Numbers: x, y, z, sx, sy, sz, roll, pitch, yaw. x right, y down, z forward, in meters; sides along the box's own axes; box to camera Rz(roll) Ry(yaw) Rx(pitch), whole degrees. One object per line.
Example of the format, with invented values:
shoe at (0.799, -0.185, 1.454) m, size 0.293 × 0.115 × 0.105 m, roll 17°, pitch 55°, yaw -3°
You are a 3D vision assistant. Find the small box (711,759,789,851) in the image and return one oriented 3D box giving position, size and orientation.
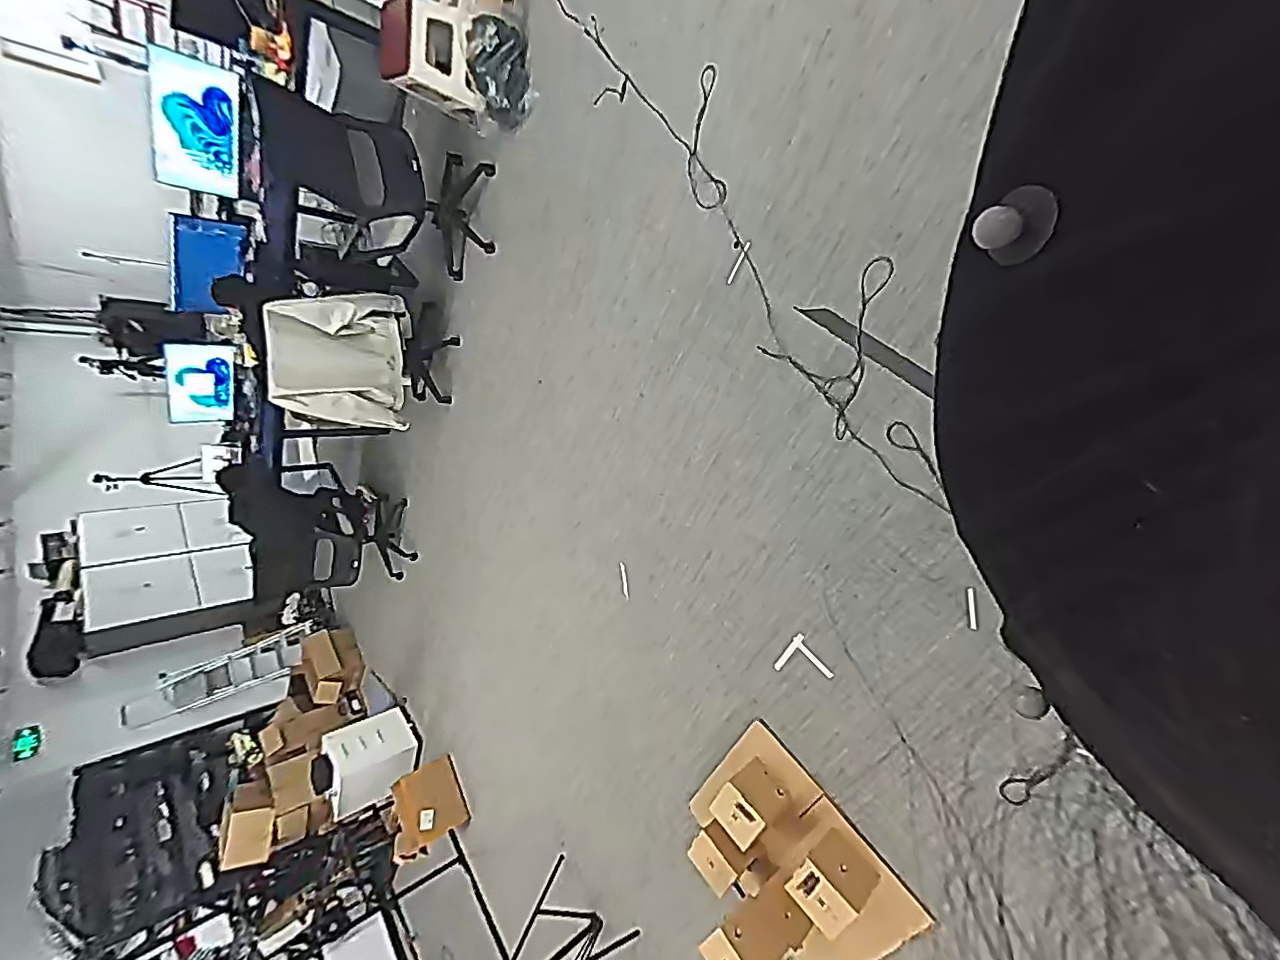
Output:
small box at (0.376, 1.087, 1.823) m, size 0.168 × 0.176 × 0.179 m, roll 42°, pitch 124°, yaw 34°

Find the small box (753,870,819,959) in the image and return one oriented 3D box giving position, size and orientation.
small box at (0.459, 1.457, 1.792) m, size 0.179 × 0.176 × 0.168 m, roll 40°, pitch 122°, yaw 33°

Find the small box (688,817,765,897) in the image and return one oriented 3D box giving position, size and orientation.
small box at (0.310, 1.317, 1.928) m, size 0.179 × 0.176 × 0.168 m, roll 40°, pitch 124°, yaw 34°

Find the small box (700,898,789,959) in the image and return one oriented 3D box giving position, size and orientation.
small box at (0.327, 1.460, 1.690) m, size 0.179 × 0.176 × 0.168 m, roll 45°, pitch 126°, yaw 32°
